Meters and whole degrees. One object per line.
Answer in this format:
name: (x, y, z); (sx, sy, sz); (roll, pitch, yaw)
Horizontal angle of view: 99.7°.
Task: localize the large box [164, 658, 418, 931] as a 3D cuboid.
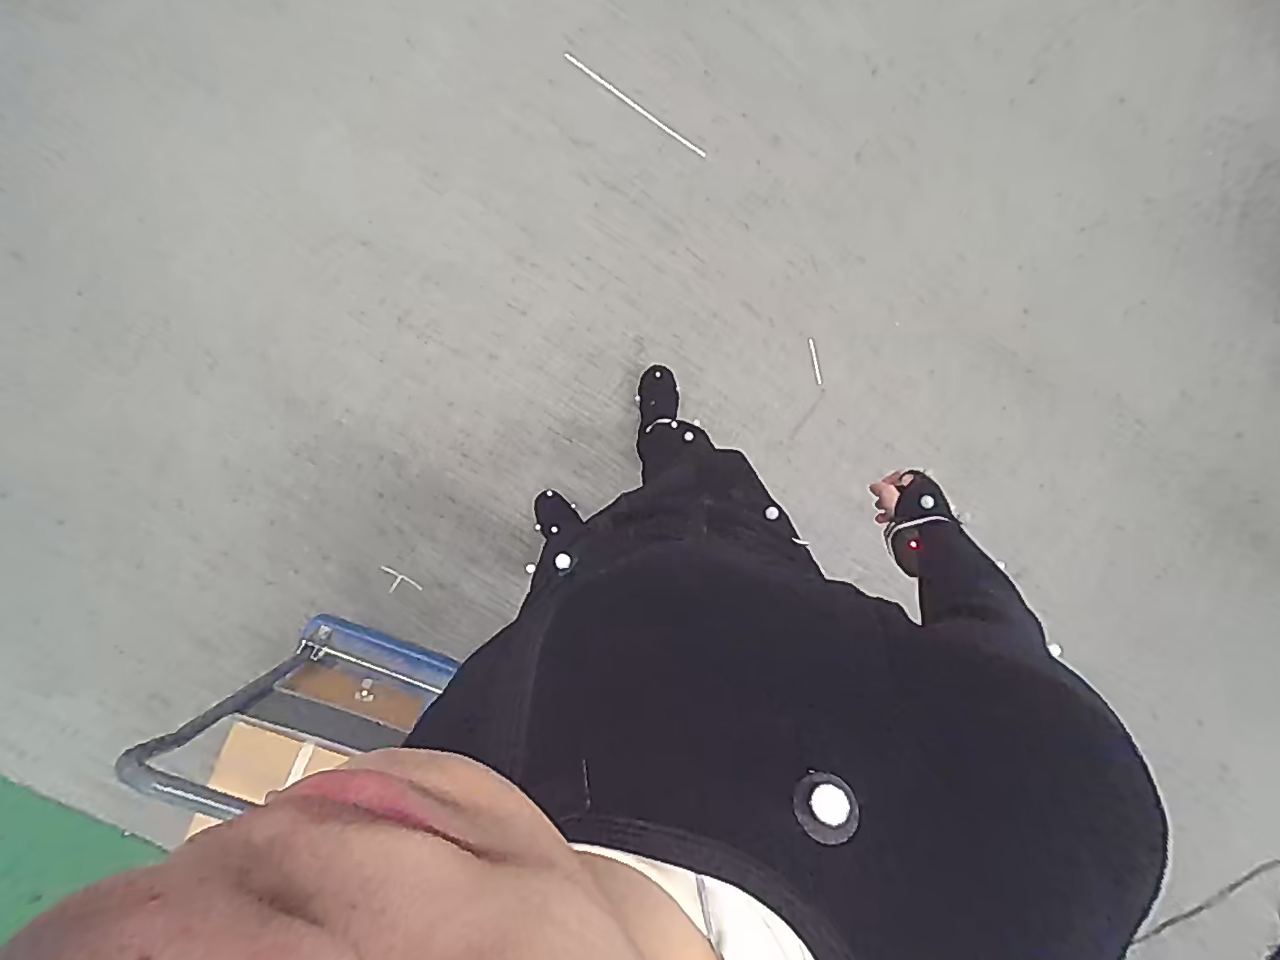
large box: (-0.765, 0.693, 1.249); (0.320, 0.320, 0.408); (23, 91, -8)
